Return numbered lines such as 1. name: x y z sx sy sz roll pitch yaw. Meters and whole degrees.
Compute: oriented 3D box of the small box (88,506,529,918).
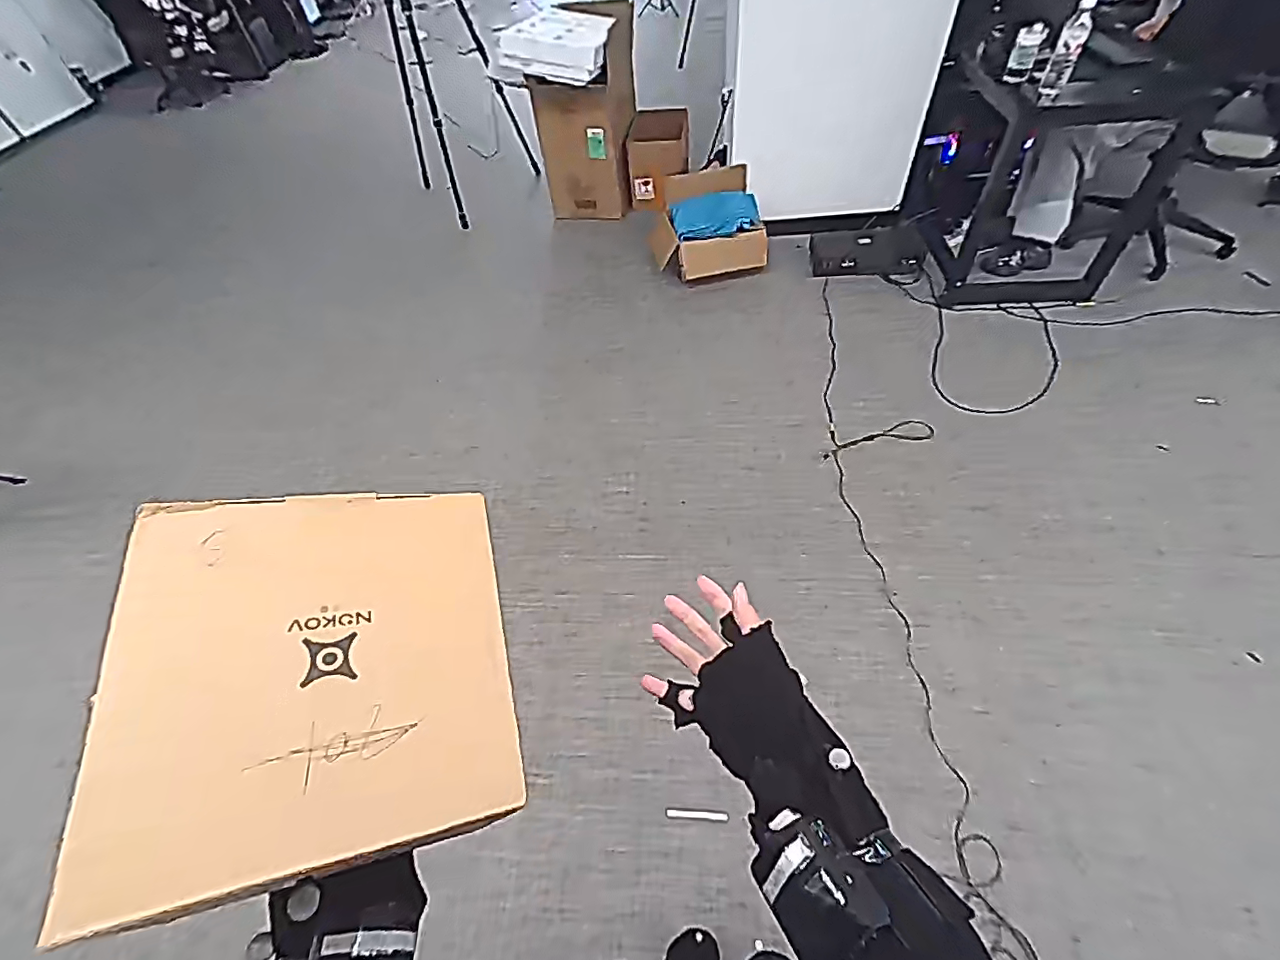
1. small box: -0.178 0.133 0.332 0.168 0.176 0.179 -1 57 -26
